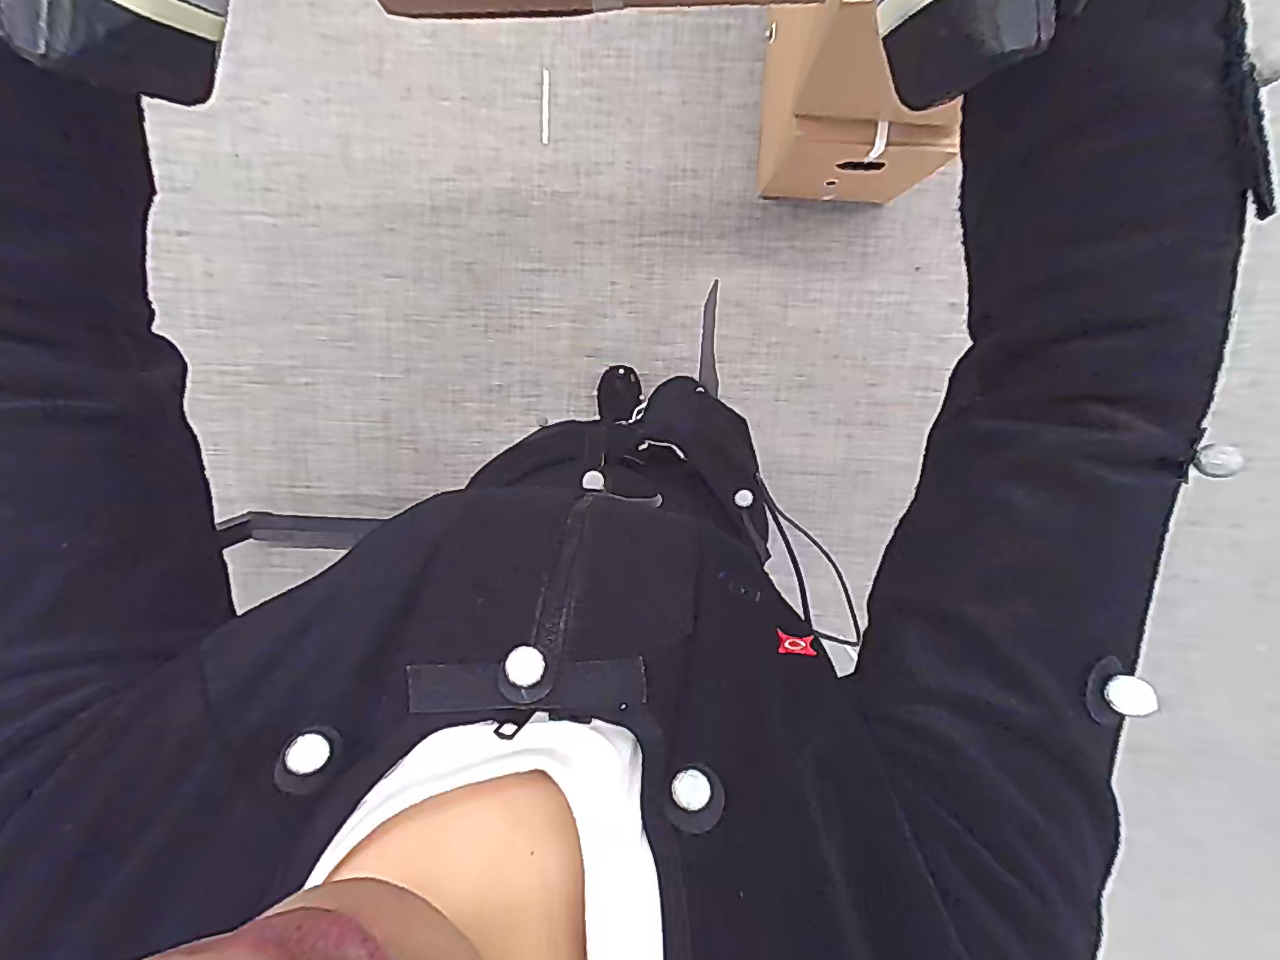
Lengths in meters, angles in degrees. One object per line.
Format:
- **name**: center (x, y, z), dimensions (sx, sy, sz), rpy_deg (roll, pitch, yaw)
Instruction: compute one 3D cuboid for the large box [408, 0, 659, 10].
- **large box**: center (-0.019, -0.495, 0.188), dimensions (0.320, 0.320, 0.408), rpy_deg (-2, 101, 1)
